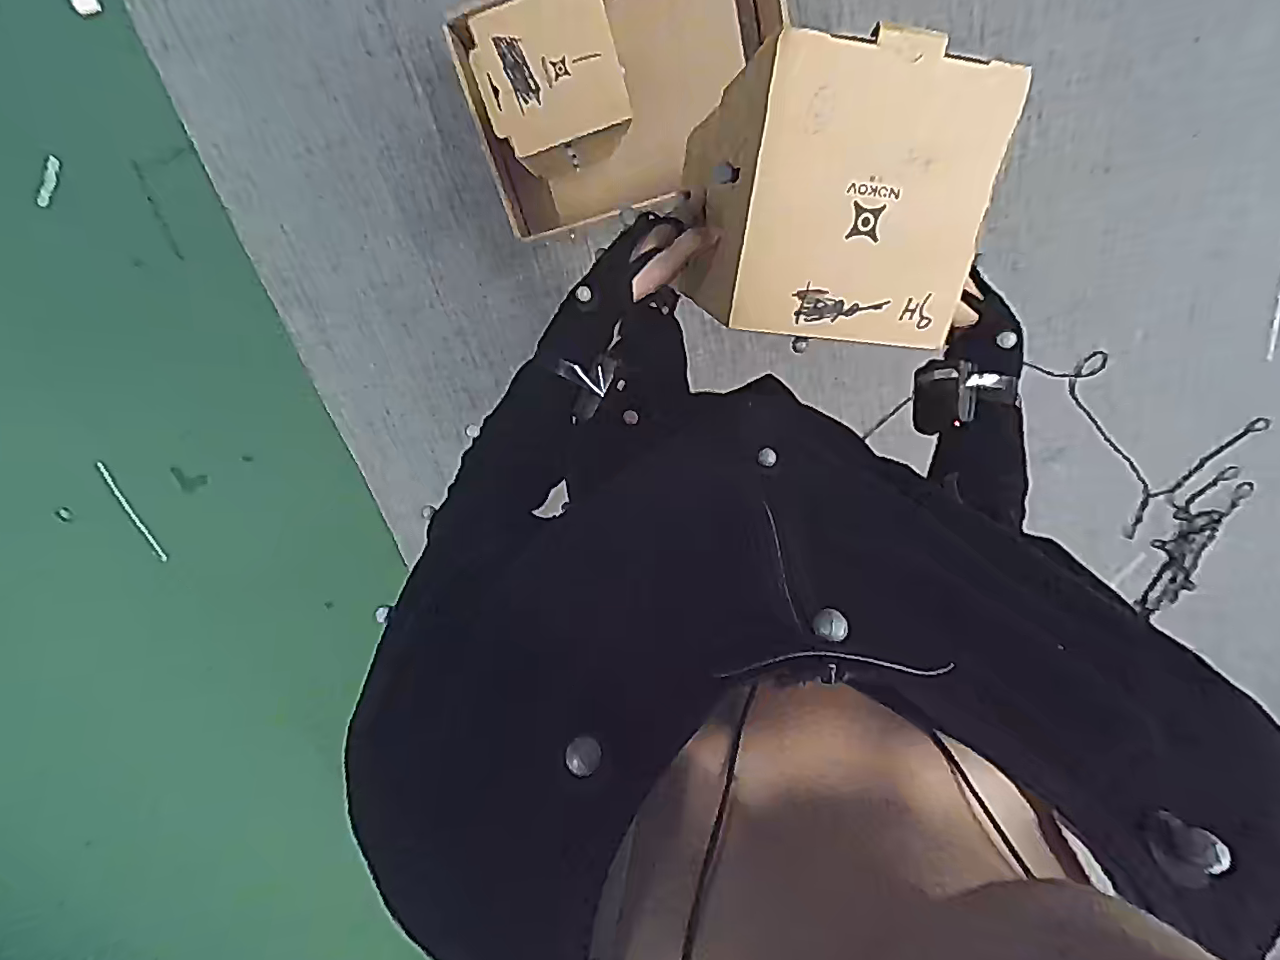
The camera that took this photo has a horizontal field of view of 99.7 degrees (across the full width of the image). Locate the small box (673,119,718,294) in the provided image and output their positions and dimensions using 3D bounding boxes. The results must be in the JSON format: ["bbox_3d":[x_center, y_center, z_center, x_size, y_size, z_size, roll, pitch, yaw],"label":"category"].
[{"bbox_3d":[0.141,-0.286,0.585,0.179,0.176,0.168,5,114,-6],"label":"small box"}]

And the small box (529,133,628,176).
[{"bbox_3d":[-0.126,-0.650,0.944,0.179,0.176,0.168,-18,115,4],"label":"small box"}]

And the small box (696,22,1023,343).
[{"bbox_3d":[0.146,-0.221,0.436,0.168,0.176,0.179,4,115,-5],"label":"small box"}]

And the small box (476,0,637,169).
[{"bbox_3d":[-0.113,-0.580,0.797,0.179,0.176,0.168,-18,116,4],"label":"small box"}]
